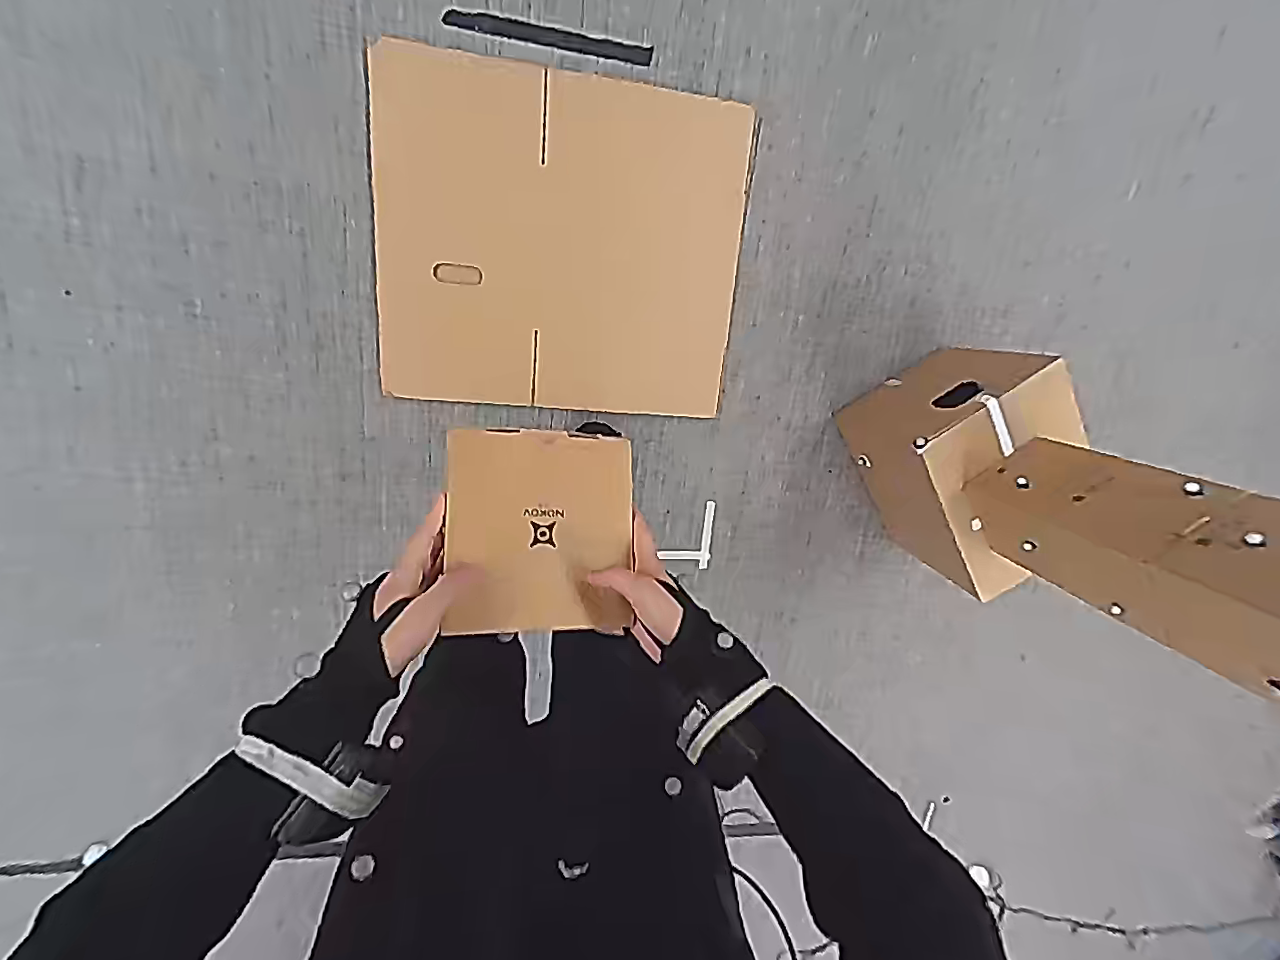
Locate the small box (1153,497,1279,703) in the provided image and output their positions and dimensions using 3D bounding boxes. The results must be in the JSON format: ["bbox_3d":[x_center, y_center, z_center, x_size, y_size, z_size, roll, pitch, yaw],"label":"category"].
[{"bbox_3d":[0.784,0.149,0.651,0.168,0.176,0.179,-34,110,1],"label":"small box"}]

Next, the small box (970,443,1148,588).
[{"bbox_3d":[0.731,0.051,0.961,0.168,0.176,0.179,-35,111,2],"label":"small box"}]

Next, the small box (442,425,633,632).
[{"bbox_3d":[-0.111,0.053,0.552,0.168,0.176,0.179,0,79,-19],"label":"small box"}]
